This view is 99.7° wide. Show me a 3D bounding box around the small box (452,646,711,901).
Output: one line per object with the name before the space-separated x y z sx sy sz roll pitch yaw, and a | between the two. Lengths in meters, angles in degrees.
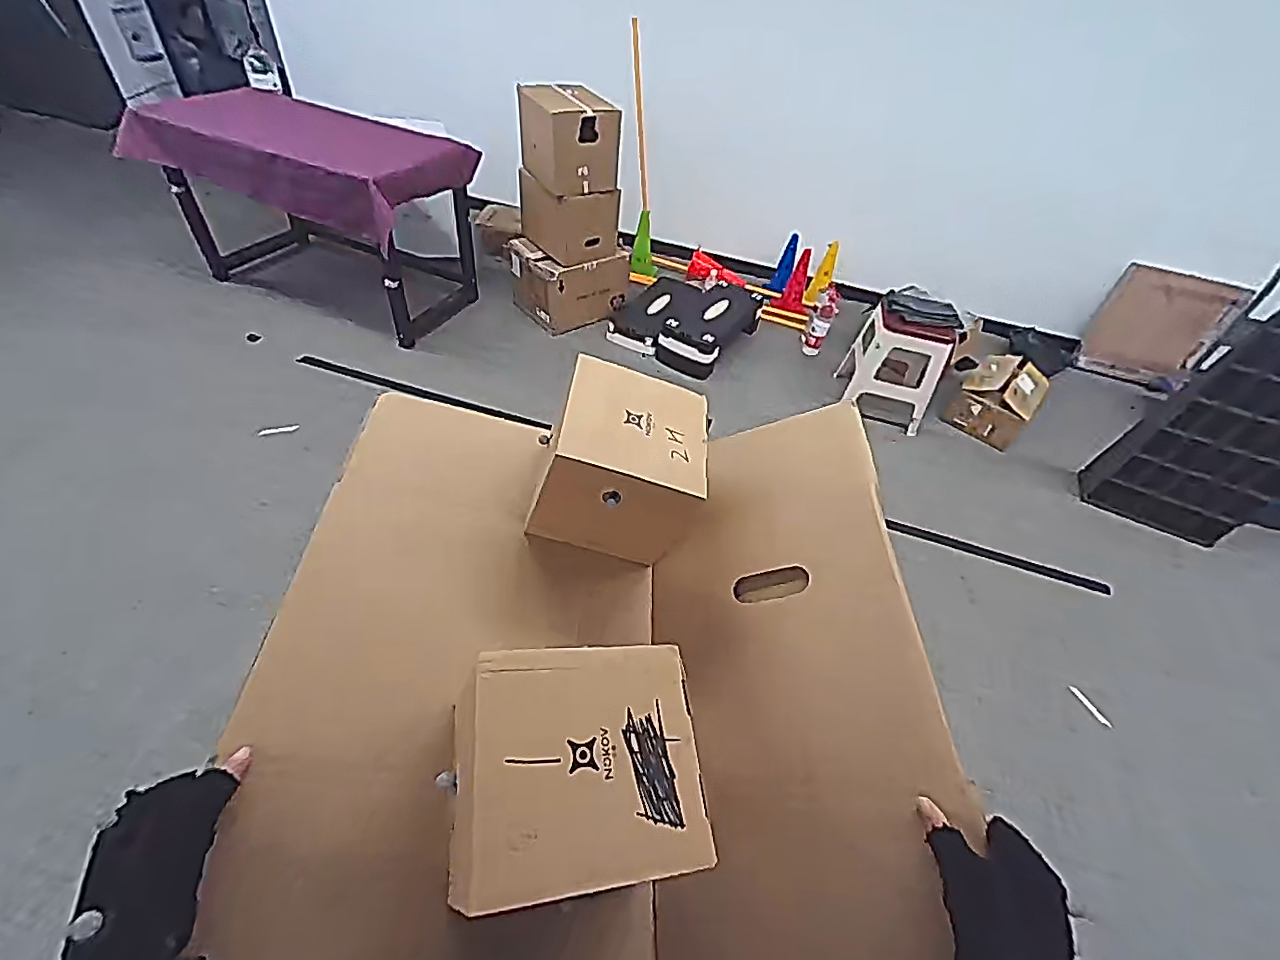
small box | -0.063 0.255 0.480 0.179 0.176 0.168 6 54 -21

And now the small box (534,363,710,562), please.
small box | -0.025 -0.014 0.699 0.179 0.176 0.168 18 51 -13
